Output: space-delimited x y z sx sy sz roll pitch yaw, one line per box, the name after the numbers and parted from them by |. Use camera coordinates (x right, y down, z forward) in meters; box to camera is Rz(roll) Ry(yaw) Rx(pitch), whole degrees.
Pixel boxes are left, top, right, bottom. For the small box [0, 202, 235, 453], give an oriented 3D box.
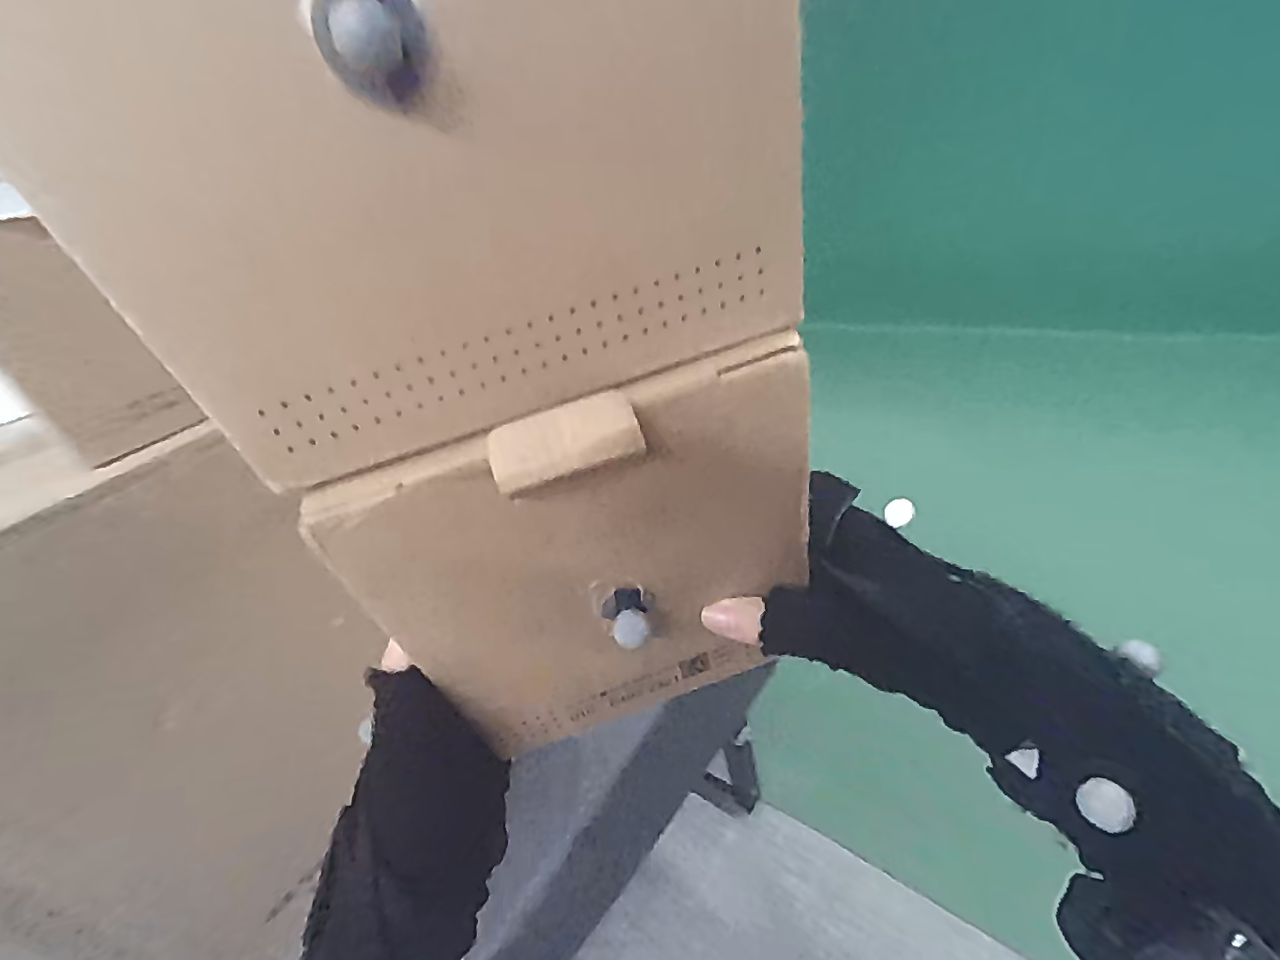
-0.447 -0.140 0.464 0.179 0.176 0.168 15 40 35 | small box

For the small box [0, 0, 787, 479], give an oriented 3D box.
-0.060 -0.128 0.186 0.179 0.176 0.168 -18 38 -3 | small box

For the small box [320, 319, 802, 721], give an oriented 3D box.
-0.025 0.000 0.285 0.168 0.176 0.179 -17 40 -3 | small box
